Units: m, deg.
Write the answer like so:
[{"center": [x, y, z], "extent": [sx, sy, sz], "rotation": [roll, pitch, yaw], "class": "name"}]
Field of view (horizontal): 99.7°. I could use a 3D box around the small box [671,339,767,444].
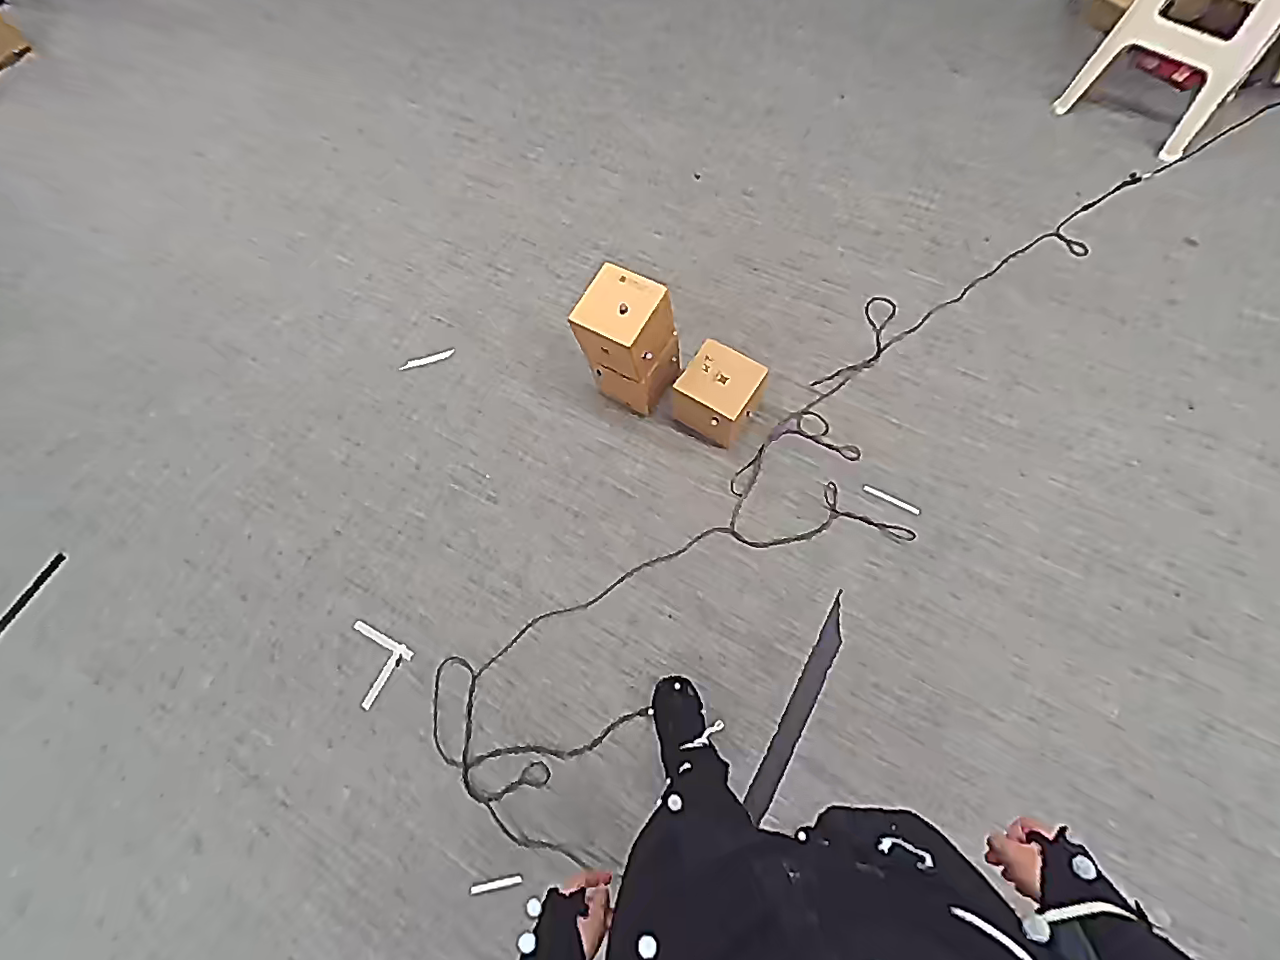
[{"center": [0.197, -0.214, 1.365], "extent": [0.179, 0.176, 0.168], "rotation": [32, 74, 16], "class": "small box"}]
